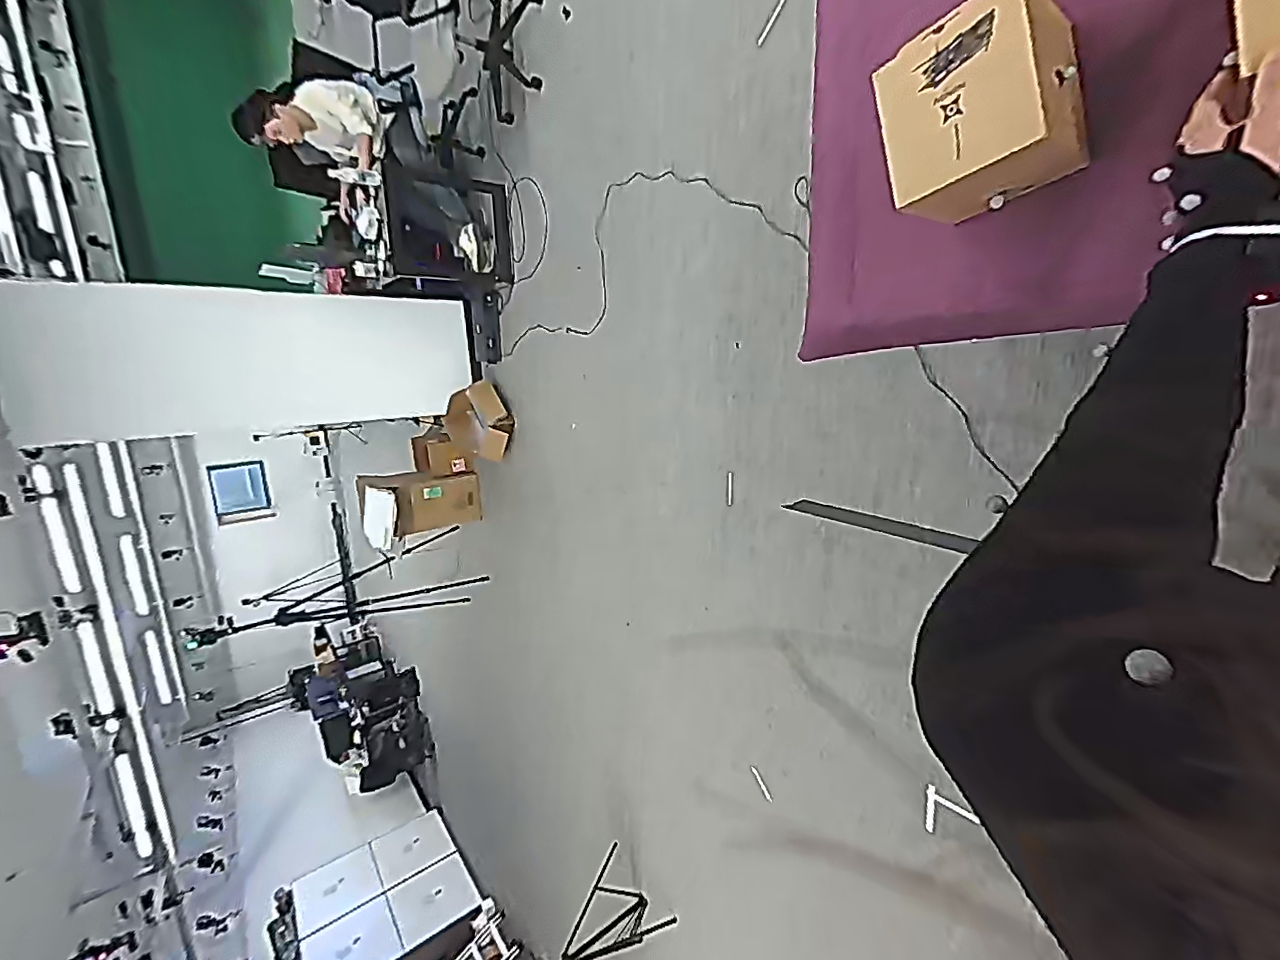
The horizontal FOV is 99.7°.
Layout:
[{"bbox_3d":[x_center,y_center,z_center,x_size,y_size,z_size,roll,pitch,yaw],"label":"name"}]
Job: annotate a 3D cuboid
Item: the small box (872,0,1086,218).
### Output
[{"bbox_3d":[0.418,-0.452,0.669,0.168,0.176,0.179,-7,95,54],"label":"small box"}]
